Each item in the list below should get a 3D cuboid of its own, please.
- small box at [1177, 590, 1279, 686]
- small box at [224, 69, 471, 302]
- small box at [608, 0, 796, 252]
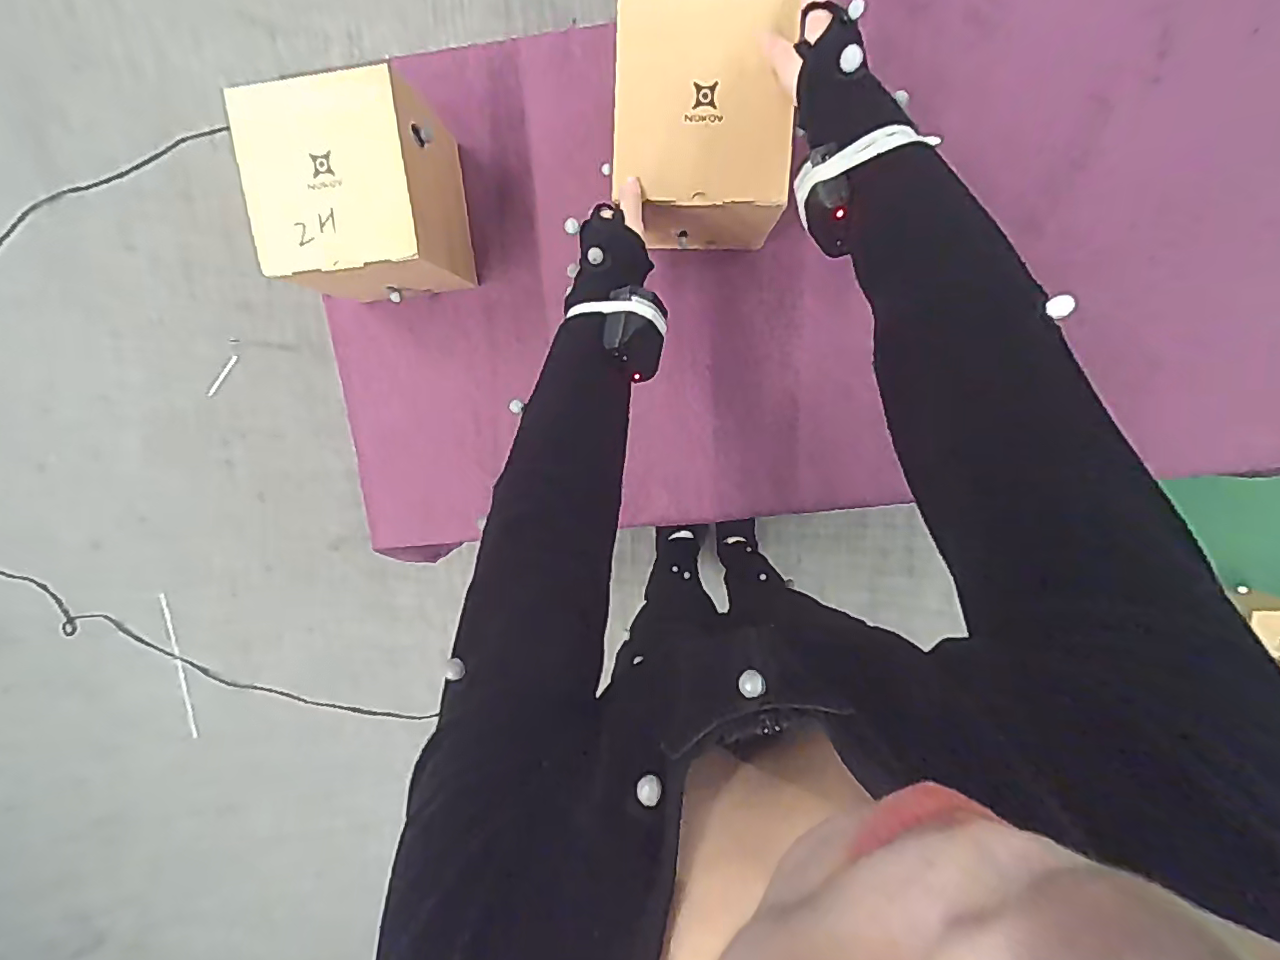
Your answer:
[{"bbox_3d":[1.504,0.389,1.346,0.168,0.176,0.179,0,98,3],"label":"small box"},{"bbox_3d":[-0.306,-0.309,0.604,0.168,0.176,0.179,-5,100,4],"label":"small box"},{"bbox_3d":[0.058,-0.357,0.576,0.168,0.176,0.179,3,101,3],"label":"small box"}]
